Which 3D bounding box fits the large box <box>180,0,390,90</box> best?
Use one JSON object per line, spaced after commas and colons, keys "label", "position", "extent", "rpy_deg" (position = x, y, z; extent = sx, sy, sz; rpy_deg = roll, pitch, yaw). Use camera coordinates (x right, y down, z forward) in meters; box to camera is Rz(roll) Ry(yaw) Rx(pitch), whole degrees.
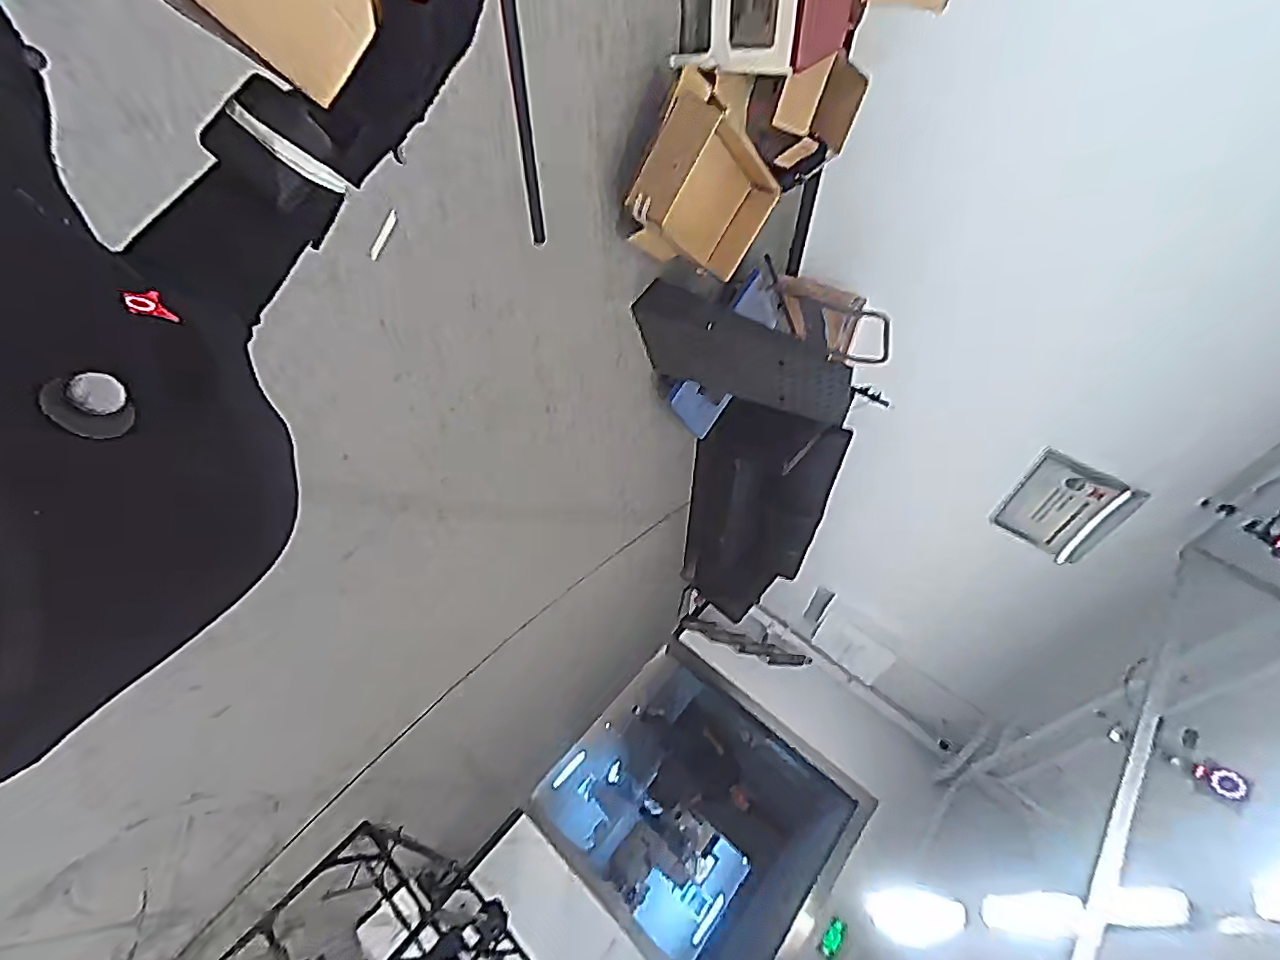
{"label": "large box", "position": [-0.302, -0.495, 0.232], "extent": [0.320, 0.320, 0.408], "rpy_deg": [-52, 152, 8]}
